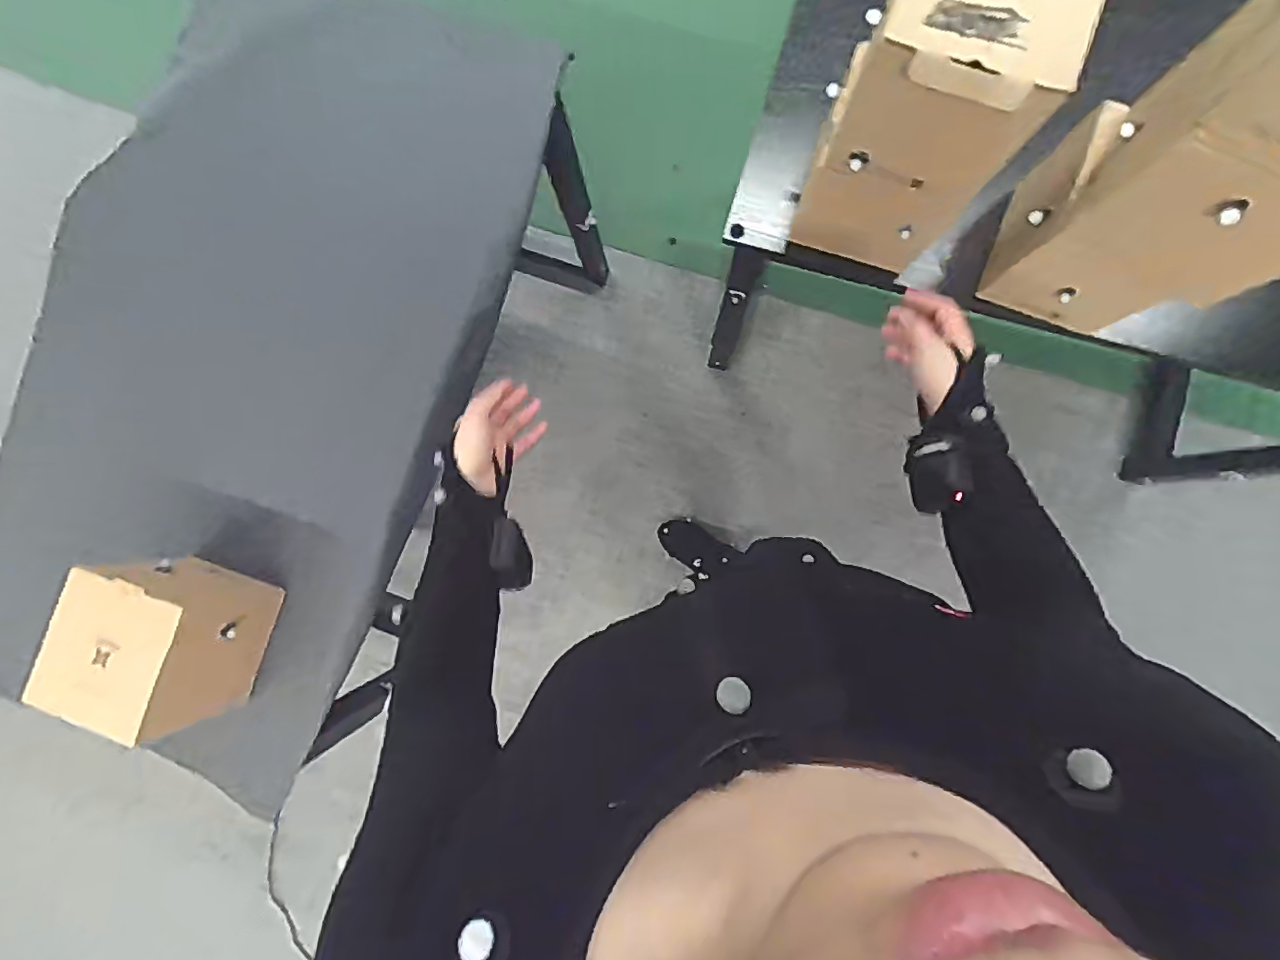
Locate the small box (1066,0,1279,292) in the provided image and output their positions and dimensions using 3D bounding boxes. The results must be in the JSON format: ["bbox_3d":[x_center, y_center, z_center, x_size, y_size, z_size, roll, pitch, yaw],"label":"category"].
[{"bbox_3d":[0.574,-0.305,0.513,0.179,0.176,0.168,29,89,6],"label":"small box"}]

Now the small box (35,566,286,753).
[{"bbox_3d":[-0.626,0.225,0.731,0.168,0.176,0.179,17,88,8],"label":"small box"}]

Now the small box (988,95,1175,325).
[{"bbox_3d":[0.579,-0.319,0.677,0.168,0.176,0.179,21,88,5],"label":"small box"}]

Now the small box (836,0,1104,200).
[{"bbox_3d":[0.315,-0.419,0.537,0.168,0.176,0.179,20,87,4],"label":"small box"}]
